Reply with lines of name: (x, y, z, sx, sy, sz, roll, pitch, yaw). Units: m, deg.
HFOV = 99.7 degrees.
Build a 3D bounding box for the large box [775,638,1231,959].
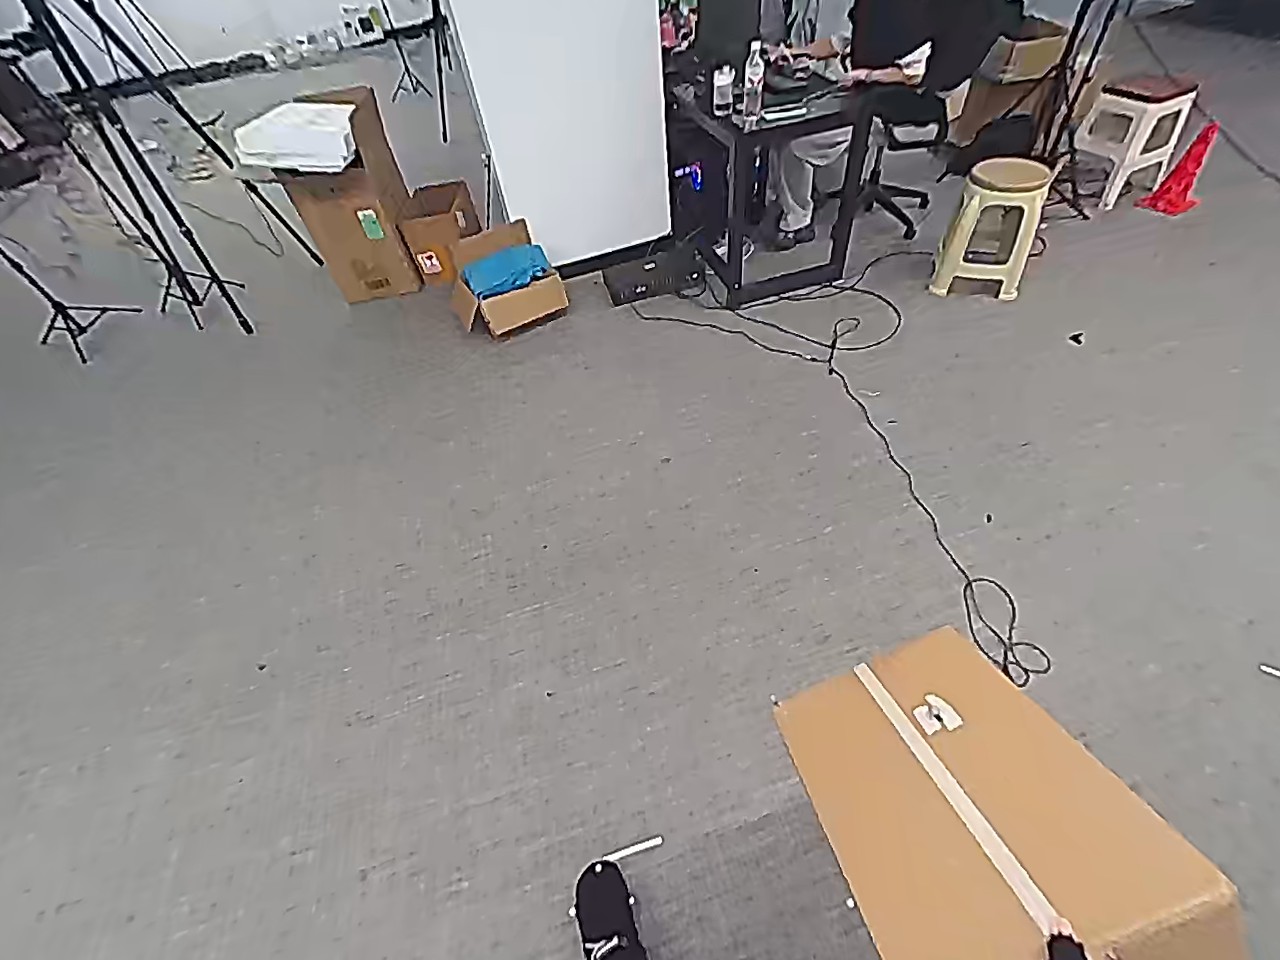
large box: (0.439, 0.502, 0.730, 0.320, 0.320, 0.408, -24, 18, 3)
